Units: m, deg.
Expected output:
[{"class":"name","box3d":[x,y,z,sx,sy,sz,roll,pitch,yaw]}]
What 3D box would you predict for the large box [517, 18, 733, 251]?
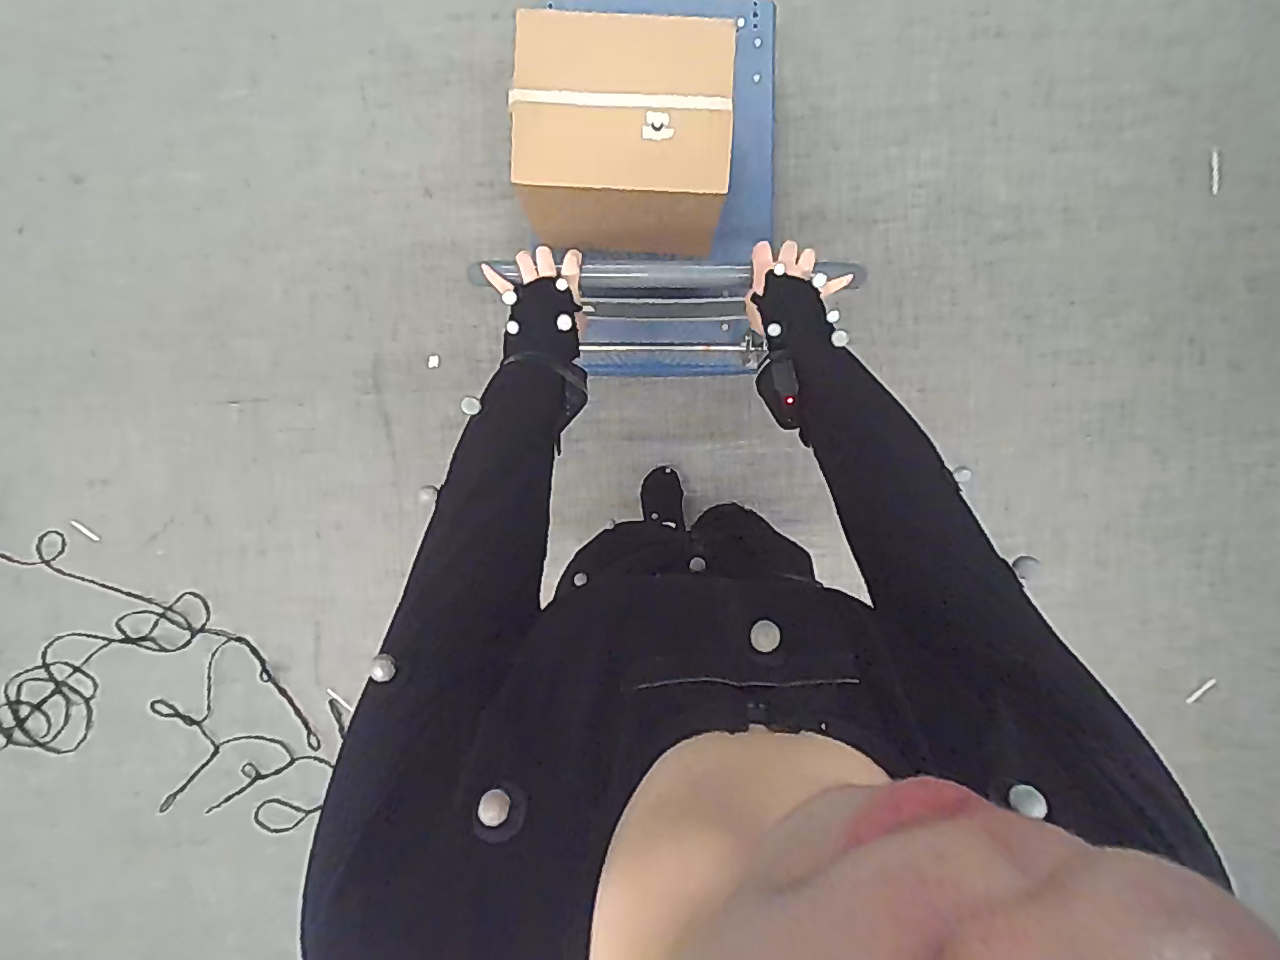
[{"class":"large box","box3d":[-0.031,-0.706,1.159,0.408,0.320,0.320,2,92,-1]}]
